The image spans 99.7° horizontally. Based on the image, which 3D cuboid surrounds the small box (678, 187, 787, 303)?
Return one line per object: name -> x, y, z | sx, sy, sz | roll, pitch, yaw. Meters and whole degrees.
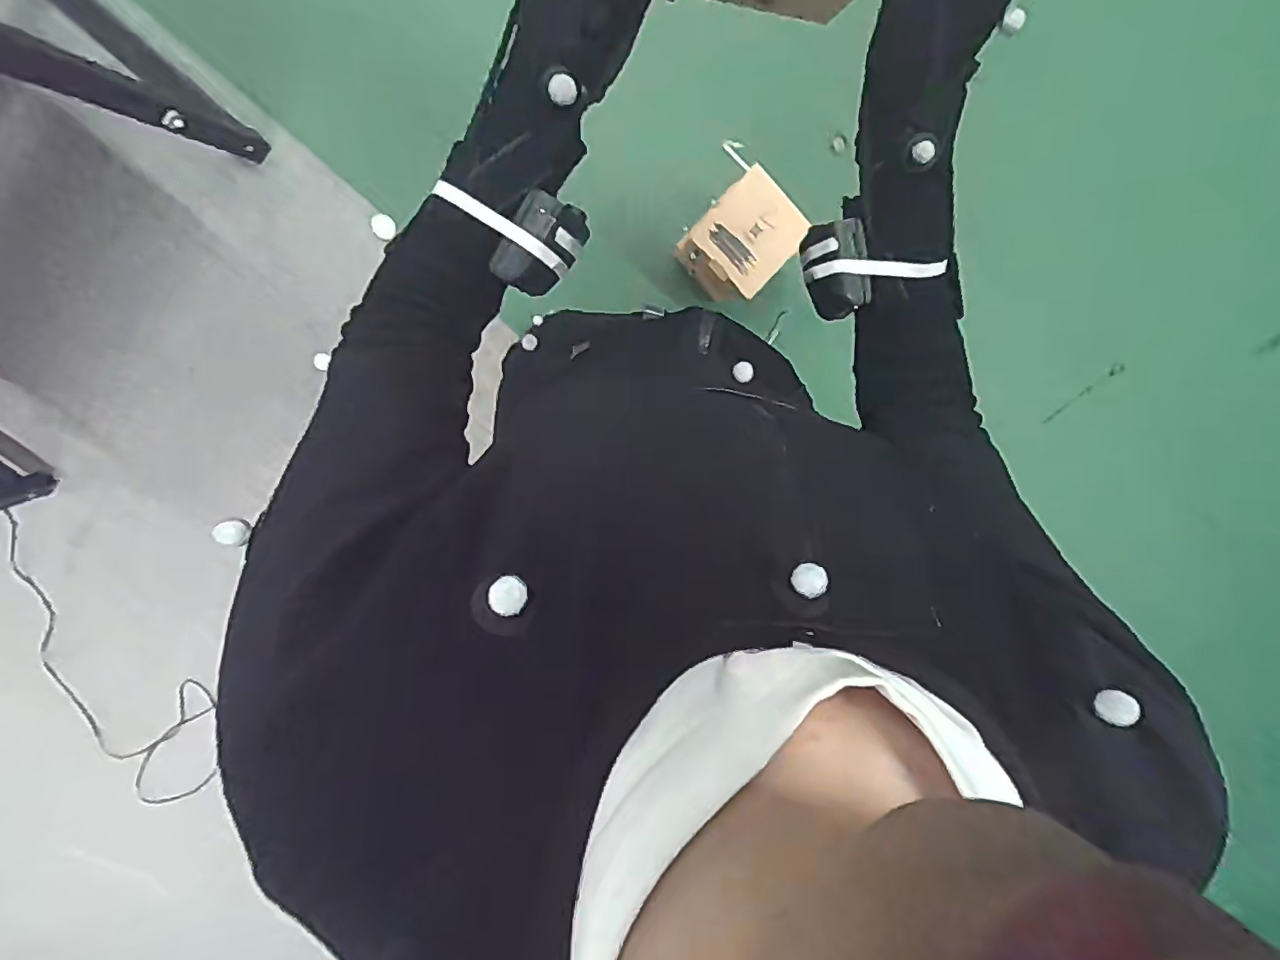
small box -> 0.203, -0.533, 1.246 | 0.179, 0.176, 0.168 | -43, 103, 14
